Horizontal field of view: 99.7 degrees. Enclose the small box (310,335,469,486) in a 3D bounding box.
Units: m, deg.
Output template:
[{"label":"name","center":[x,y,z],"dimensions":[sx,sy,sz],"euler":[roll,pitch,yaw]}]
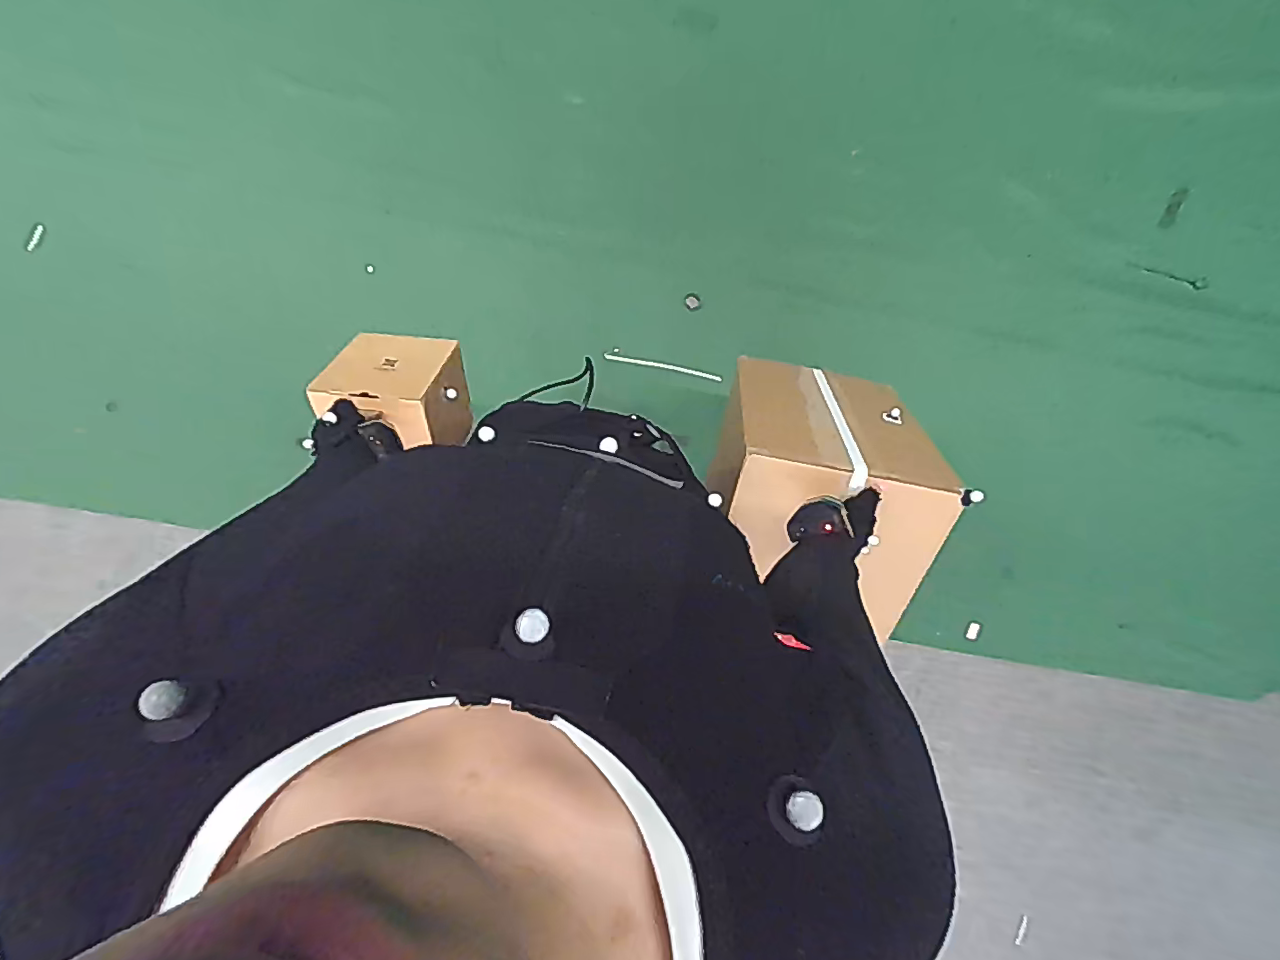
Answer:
[{"label":"small box","center":[-0.389,-0.113,0.881],"dimensions":[0.168,0.179,0.176],"euler":[4,133,0]}]
